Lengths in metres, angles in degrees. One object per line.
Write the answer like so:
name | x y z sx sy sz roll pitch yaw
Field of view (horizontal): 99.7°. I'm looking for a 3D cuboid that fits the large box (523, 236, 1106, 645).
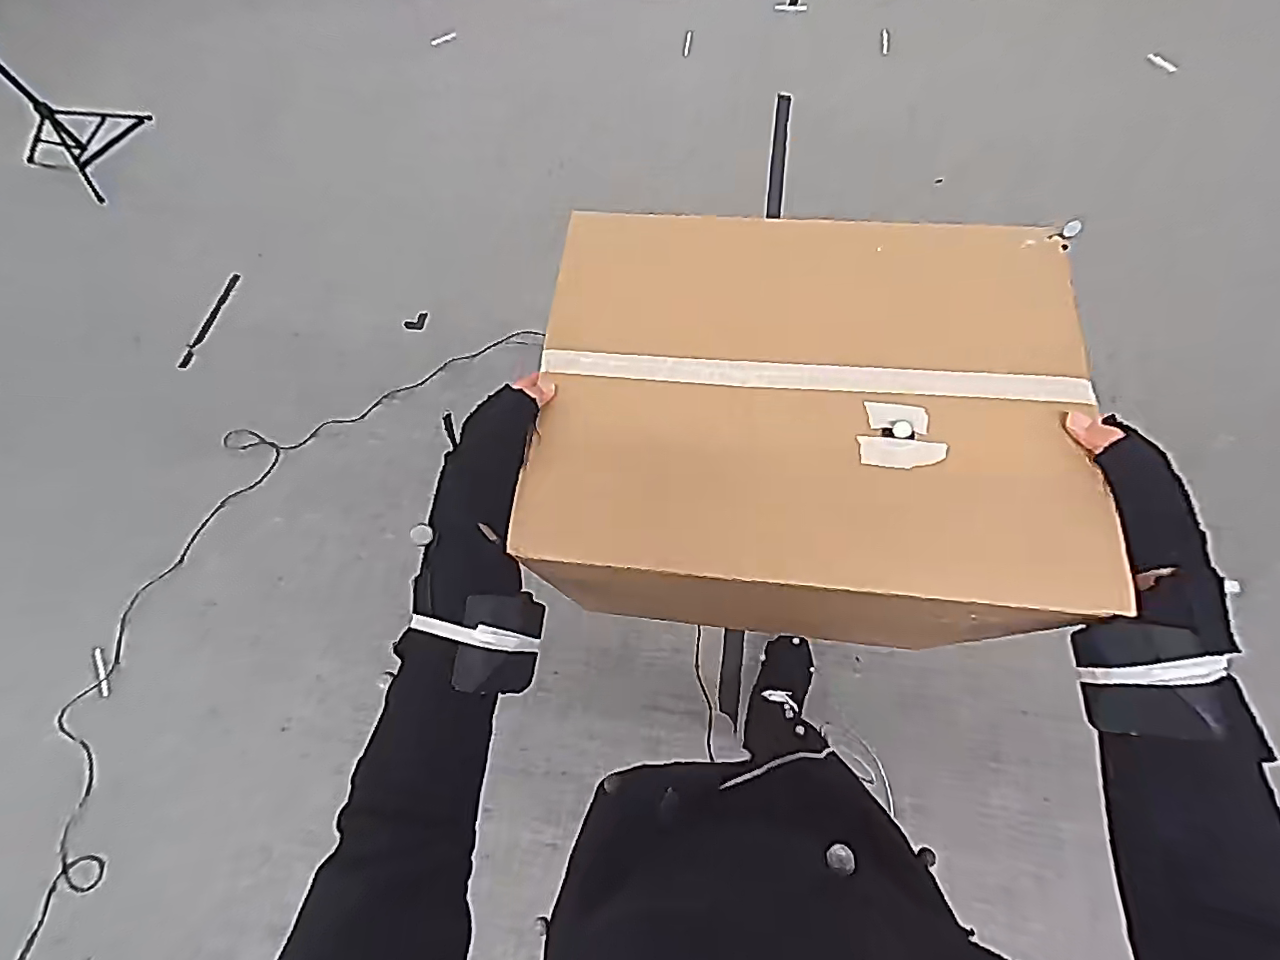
large box | 0.132 -0.015 0.561 0.408 0.320 0.320 5 70 6
